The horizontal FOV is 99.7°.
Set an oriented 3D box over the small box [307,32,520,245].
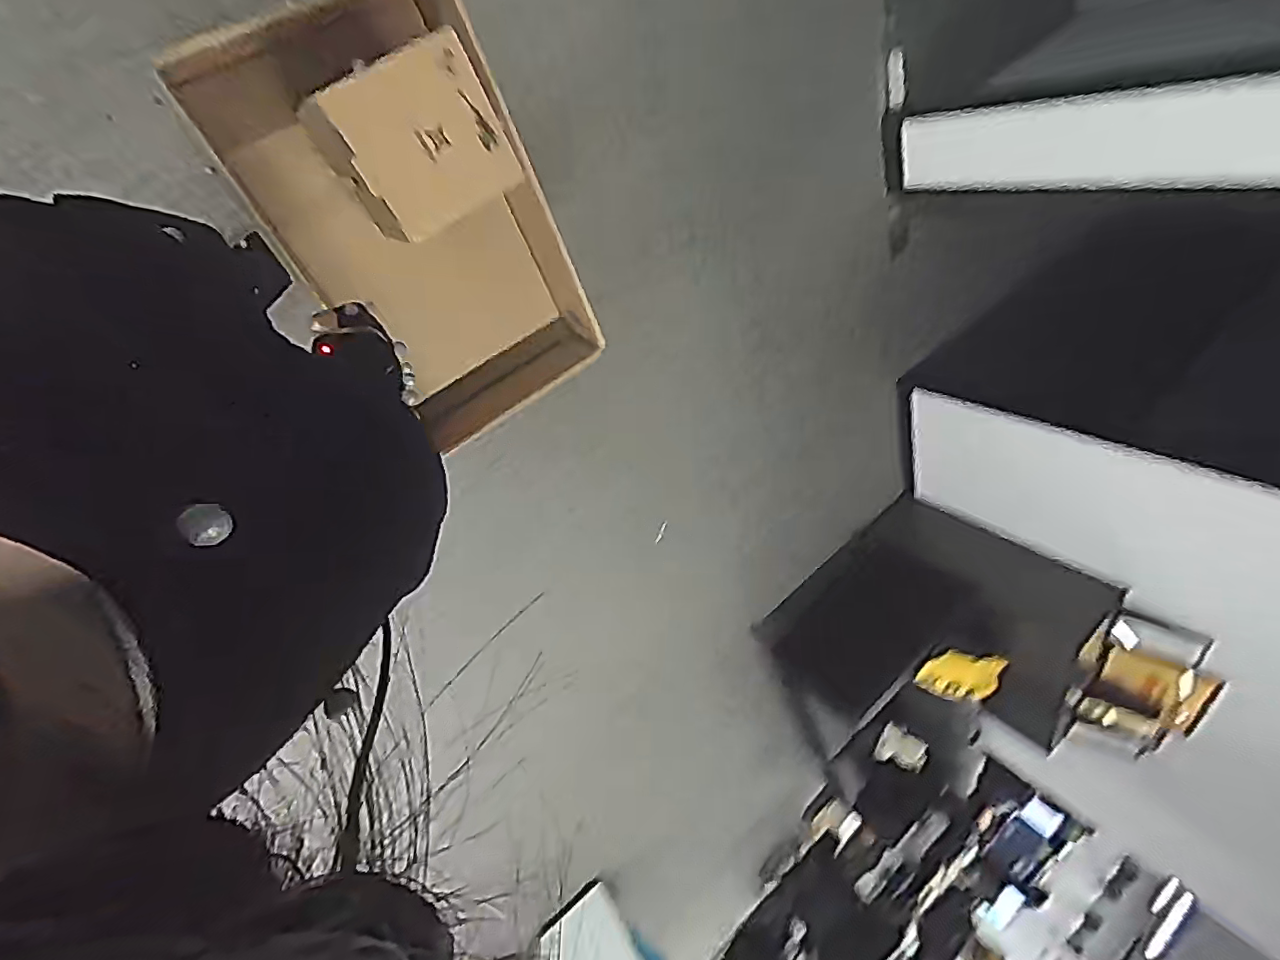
[{"bbox_3d":[-0.289,-0.421,0.685,0.179,0.176,0.168,-38,131,-13],"label":"small box"}]
